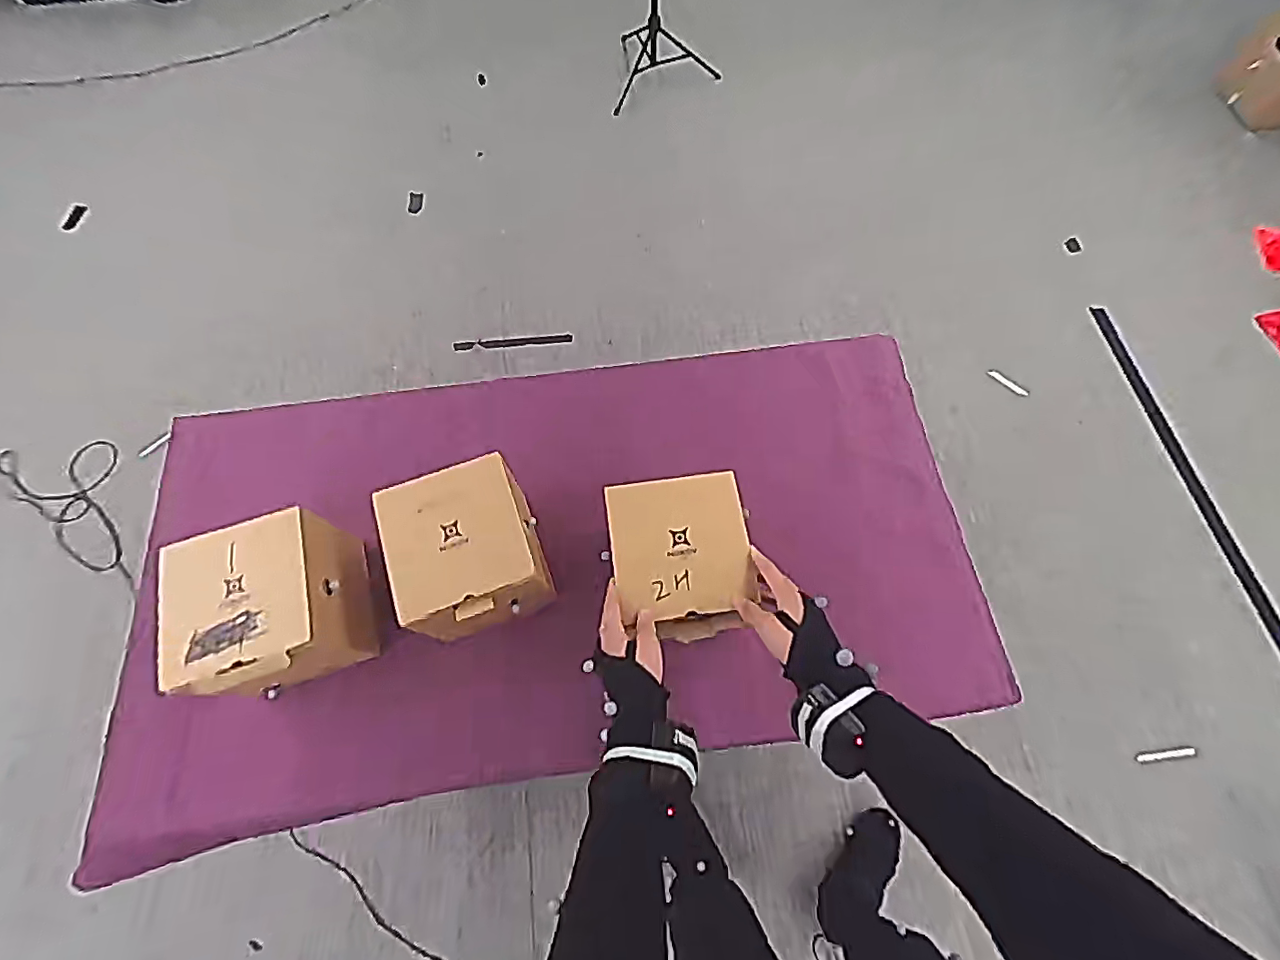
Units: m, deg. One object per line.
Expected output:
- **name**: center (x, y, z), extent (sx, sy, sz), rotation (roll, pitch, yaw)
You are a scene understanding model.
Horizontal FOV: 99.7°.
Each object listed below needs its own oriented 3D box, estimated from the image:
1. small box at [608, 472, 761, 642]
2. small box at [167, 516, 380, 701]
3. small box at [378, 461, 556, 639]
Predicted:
- **small box**: center (0.050, 0.109, 0.724), extent (0.168, 0.176, 0.179), rotation (-8, 67, -2)
- **small box**: center (-0.463, 0.173, 0.704), extent (0.168, 0.176, 0.179), rotation (-18, 68, -7)
- **small box**: center (-0.222, 0.105, 0.731), extent (0.168, 0.176, 0.179), rotation (-19, 68, -8)
